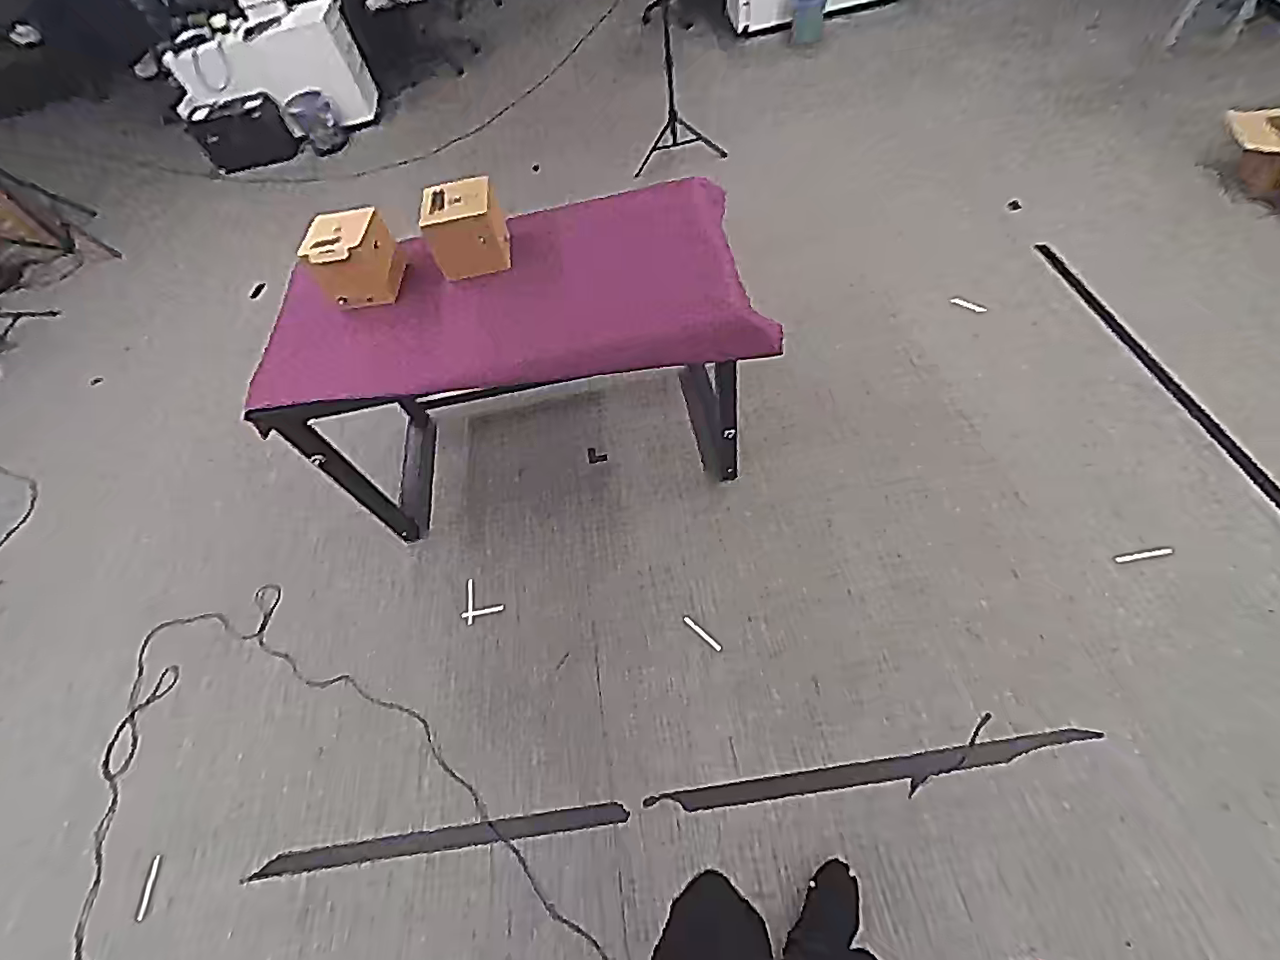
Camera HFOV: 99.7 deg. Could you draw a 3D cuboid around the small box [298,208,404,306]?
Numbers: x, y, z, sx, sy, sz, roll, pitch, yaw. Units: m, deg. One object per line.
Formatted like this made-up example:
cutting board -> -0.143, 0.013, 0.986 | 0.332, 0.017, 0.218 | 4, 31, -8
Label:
small box -> -0.750, -0.576, 1.423 | 0.168, 0.176, 0.179 | -6, 58, 5
